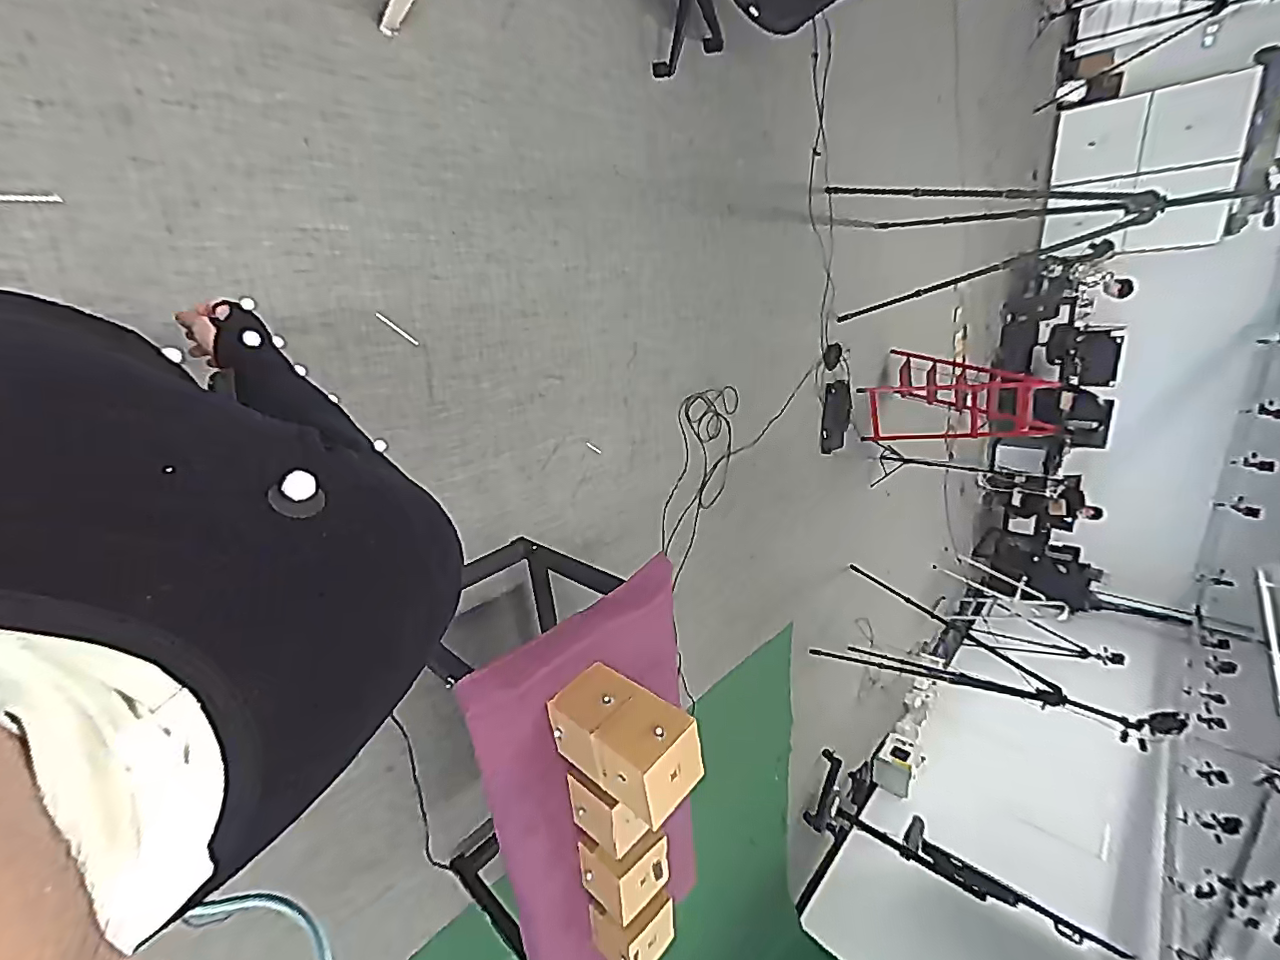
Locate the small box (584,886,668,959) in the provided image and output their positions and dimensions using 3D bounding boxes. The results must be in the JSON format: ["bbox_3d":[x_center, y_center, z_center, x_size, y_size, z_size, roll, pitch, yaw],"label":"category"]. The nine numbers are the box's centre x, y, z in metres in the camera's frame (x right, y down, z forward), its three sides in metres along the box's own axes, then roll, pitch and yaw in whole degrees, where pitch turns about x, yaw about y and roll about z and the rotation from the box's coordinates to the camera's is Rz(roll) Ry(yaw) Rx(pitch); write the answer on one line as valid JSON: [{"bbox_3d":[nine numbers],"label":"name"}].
[{"bbox_3d":[-0.040,1.261,1.562,0.179,0.176,0.168,-21,114,-43],"label":"small box"}]

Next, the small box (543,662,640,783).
[{"bbox_3d":[-0.108,0.578,1.315,0.179,0.176,0.168,-28,119,-39],"label":"small box"}]

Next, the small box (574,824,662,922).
[{"bbox_3d":[-0.059,1.030,1.482,0.179,0.176,0.168,-19,113,-42],"label":"small box"}]

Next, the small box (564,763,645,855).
[{"bbox_3d":[-0.073,0.807,1.409,0.179,0.176,0.168,-22,115,-42],"label":"small box"}]

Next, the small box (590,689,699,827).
[{"bbox_3d":[0.006,0.607,1.203,0.179,0.176,0.168,-28,119,-40],"label":"small box"}]
